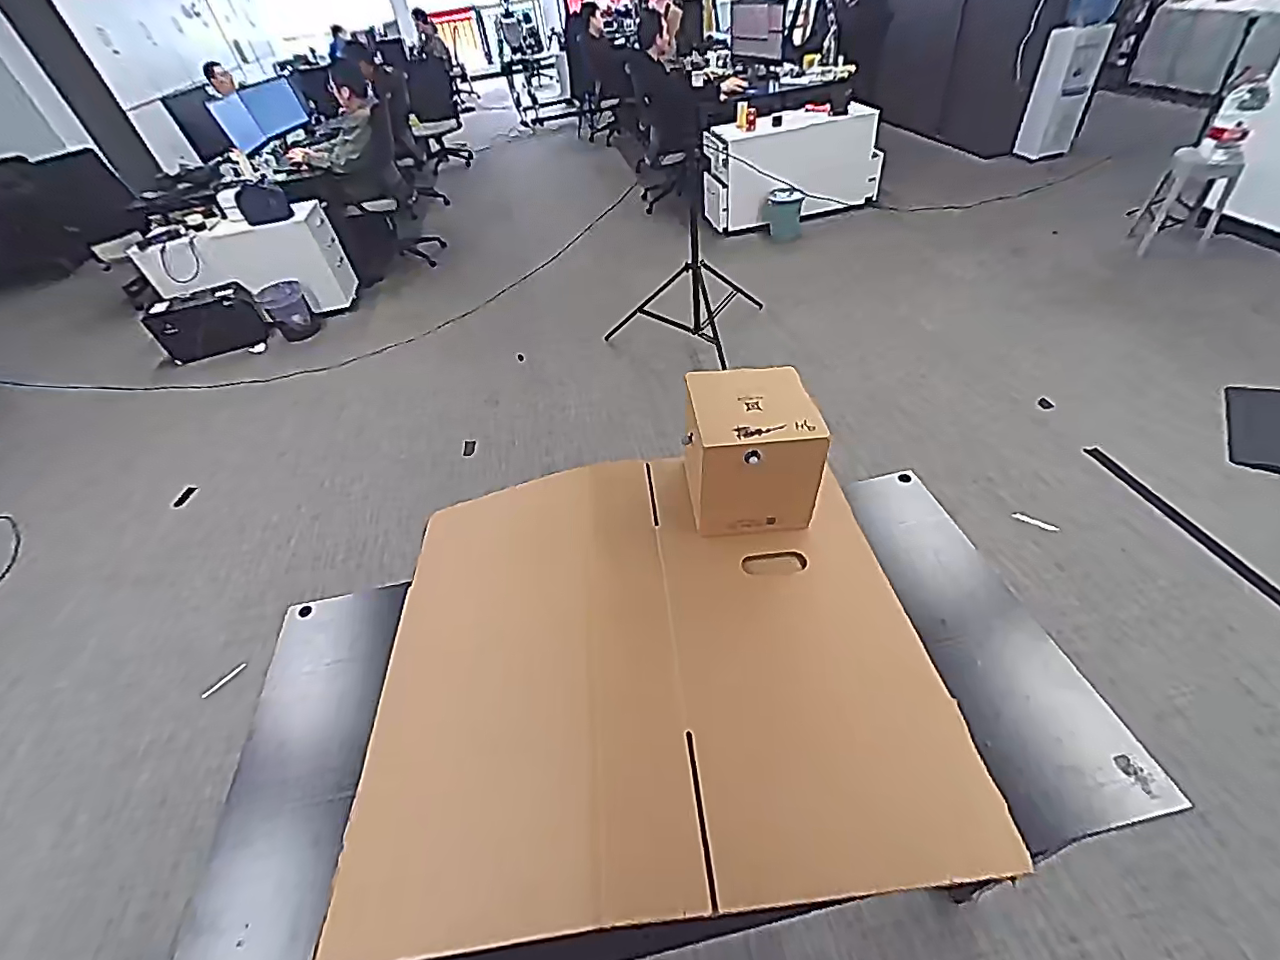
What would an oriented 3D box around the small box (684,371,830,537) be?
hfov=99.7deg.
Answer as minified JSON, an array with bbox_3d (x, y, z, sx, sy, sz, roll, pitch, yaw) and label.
[{"bbox_3d":[0.155,-0.039,0.789,0.168,0.176,0.179,-5,41,-1],"label":"small box"}]
